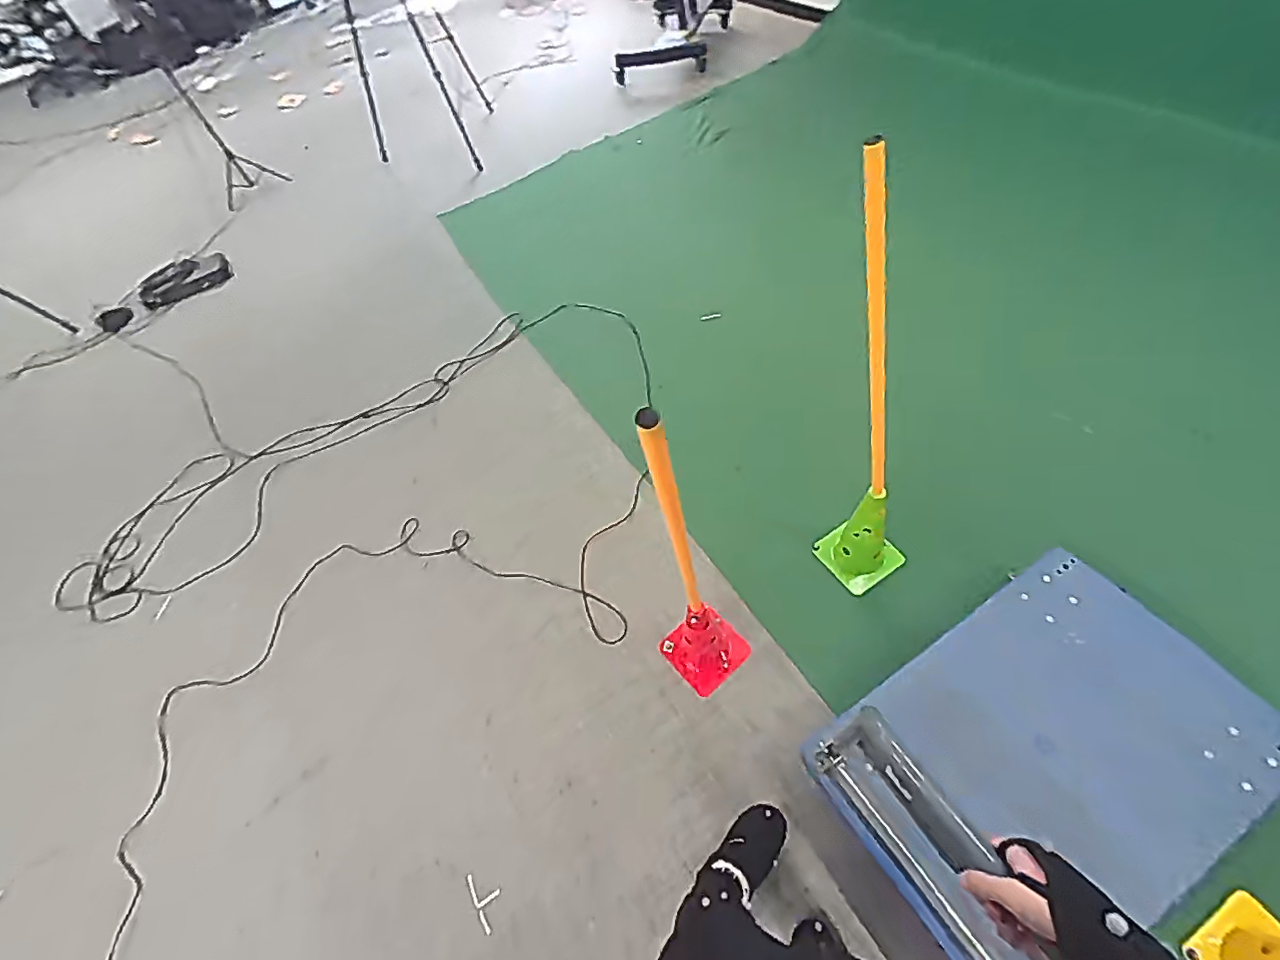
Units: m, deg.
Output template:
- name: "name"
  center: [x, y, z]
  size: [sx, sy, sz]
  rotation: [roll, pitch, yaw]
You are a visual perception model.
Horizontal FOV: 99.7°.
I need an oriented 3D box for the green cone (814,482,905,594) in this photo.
- name: "green cone"
  center: [0.629, 0.127, 1.482]
  size: [0.202, 0.368, 0.200]
  rotation: [-31, 56, -12]
